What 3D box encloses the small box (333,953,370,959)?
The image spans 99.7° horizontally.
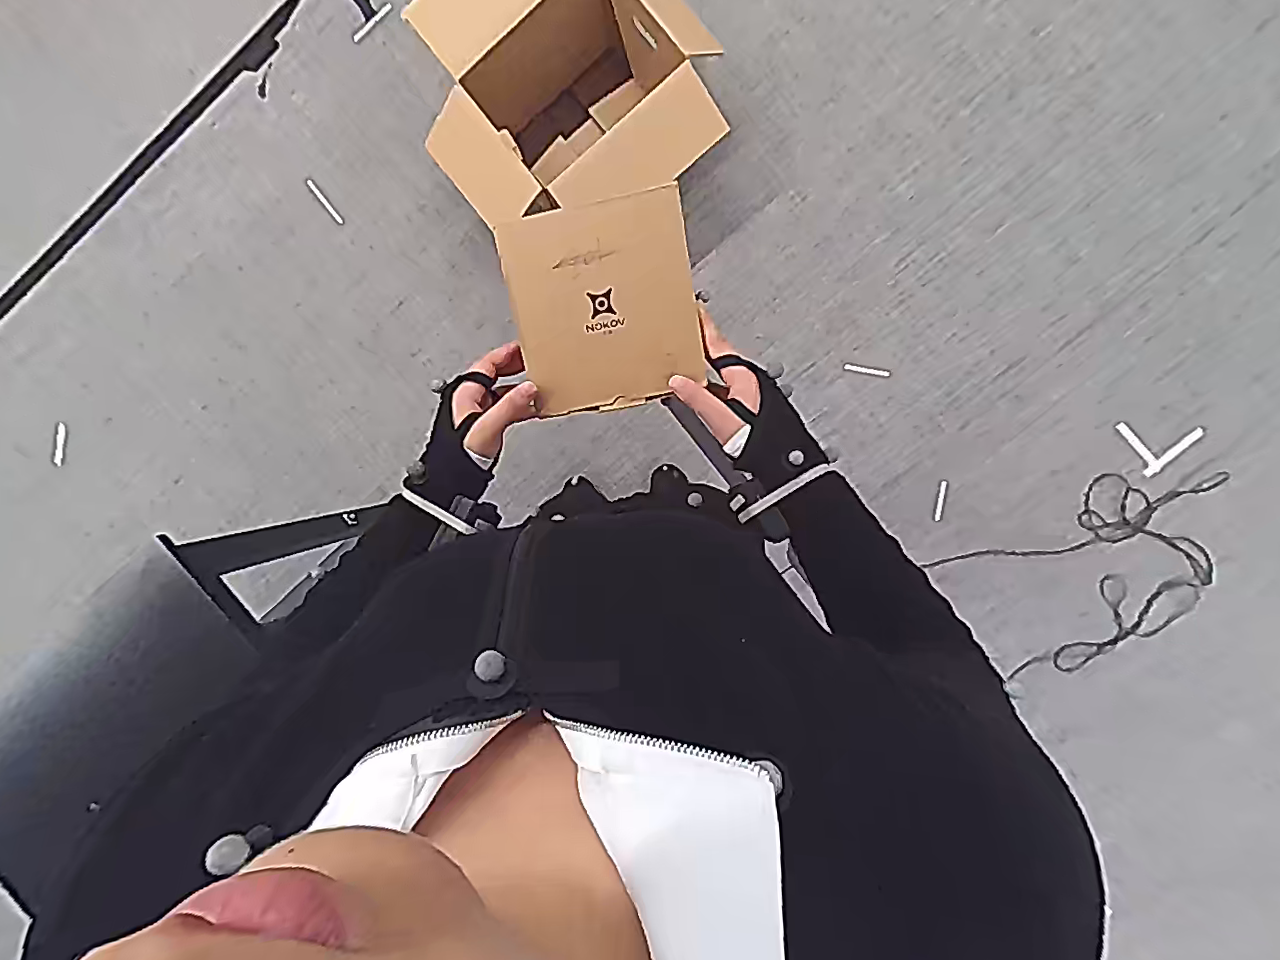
[{"bbox_3d":[-0.458,0.833,0.768,0.168,0.176,0.179,-40,90,7],"label":"small box"}]

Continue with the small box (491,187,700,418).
[{"bbox_3d":[-0.030,-0.175,0.565,0.168,0.176,0.179,-10,103,8],"label":"small box"}]
